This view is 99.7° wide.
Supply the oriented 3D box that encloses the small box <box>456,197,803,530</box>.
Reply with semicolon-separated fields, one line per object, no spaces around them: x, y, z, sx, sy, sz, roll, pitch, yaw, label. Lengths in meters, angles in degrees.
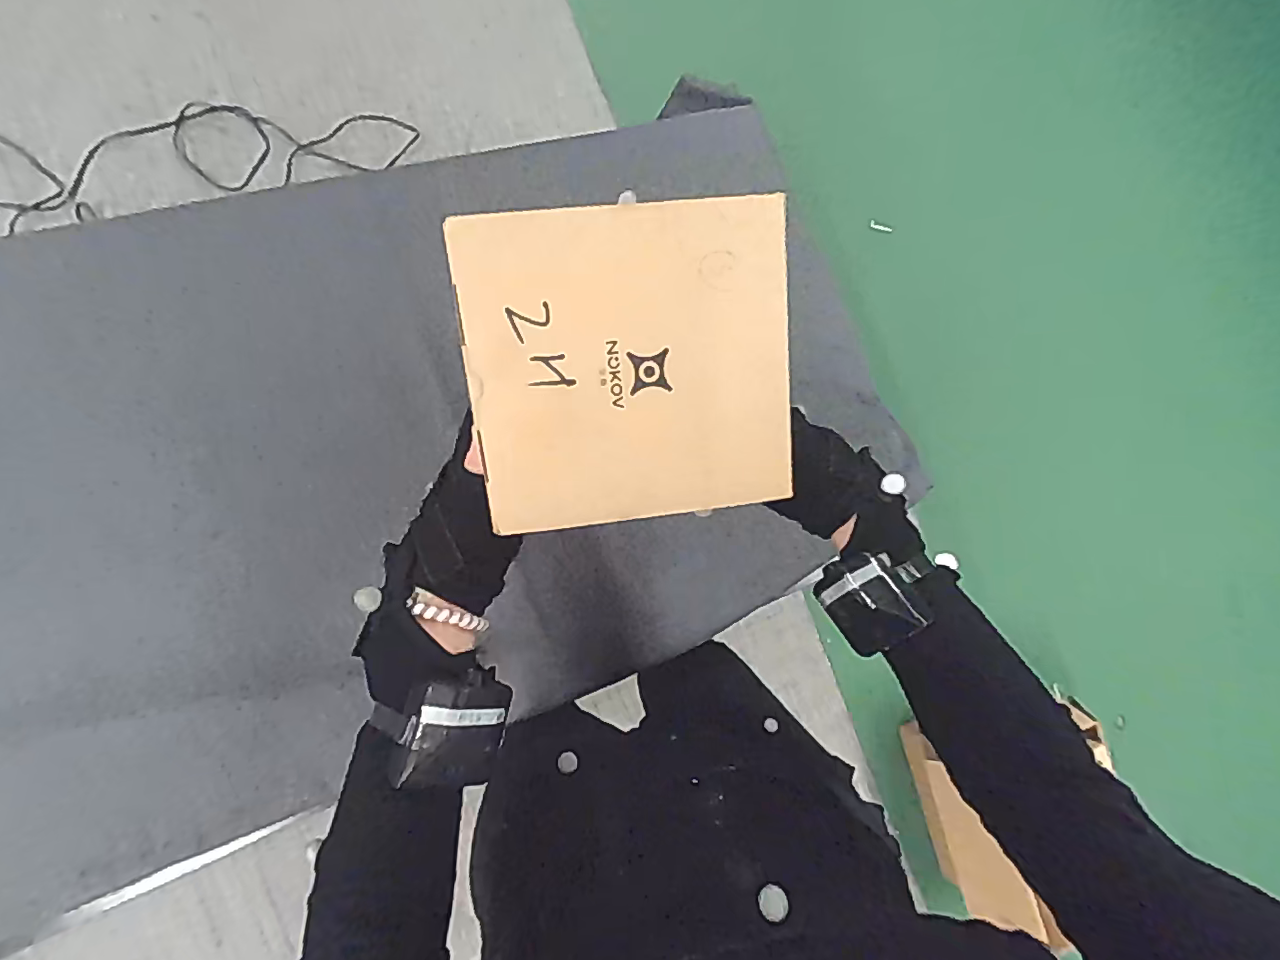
-0.008;-0.078;0.362;0.179;0.176;0.168;-6;104;-5;small box
